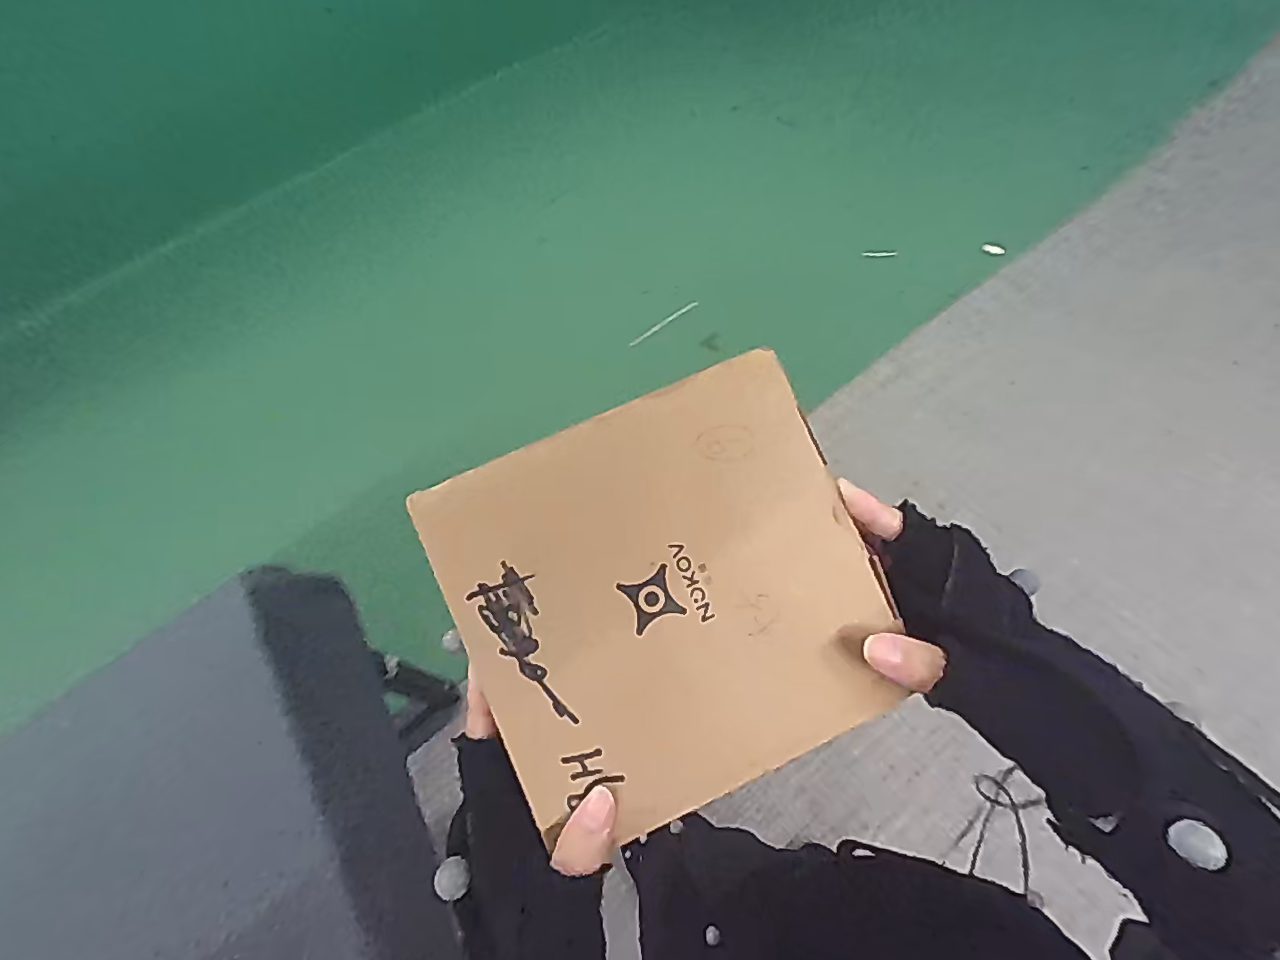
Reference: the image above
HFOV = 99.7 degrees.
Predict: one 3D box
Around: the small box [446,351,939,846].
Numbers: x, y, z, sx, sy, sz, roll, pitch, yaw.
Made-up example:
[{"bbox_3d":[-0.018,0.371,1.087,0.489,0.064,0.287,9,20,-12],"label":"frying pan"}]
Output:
[{"bbox_3d":[0.018,0.053,0.313,0.179,0.176,0.168,-22,84,-6],"label":"small box"}]
